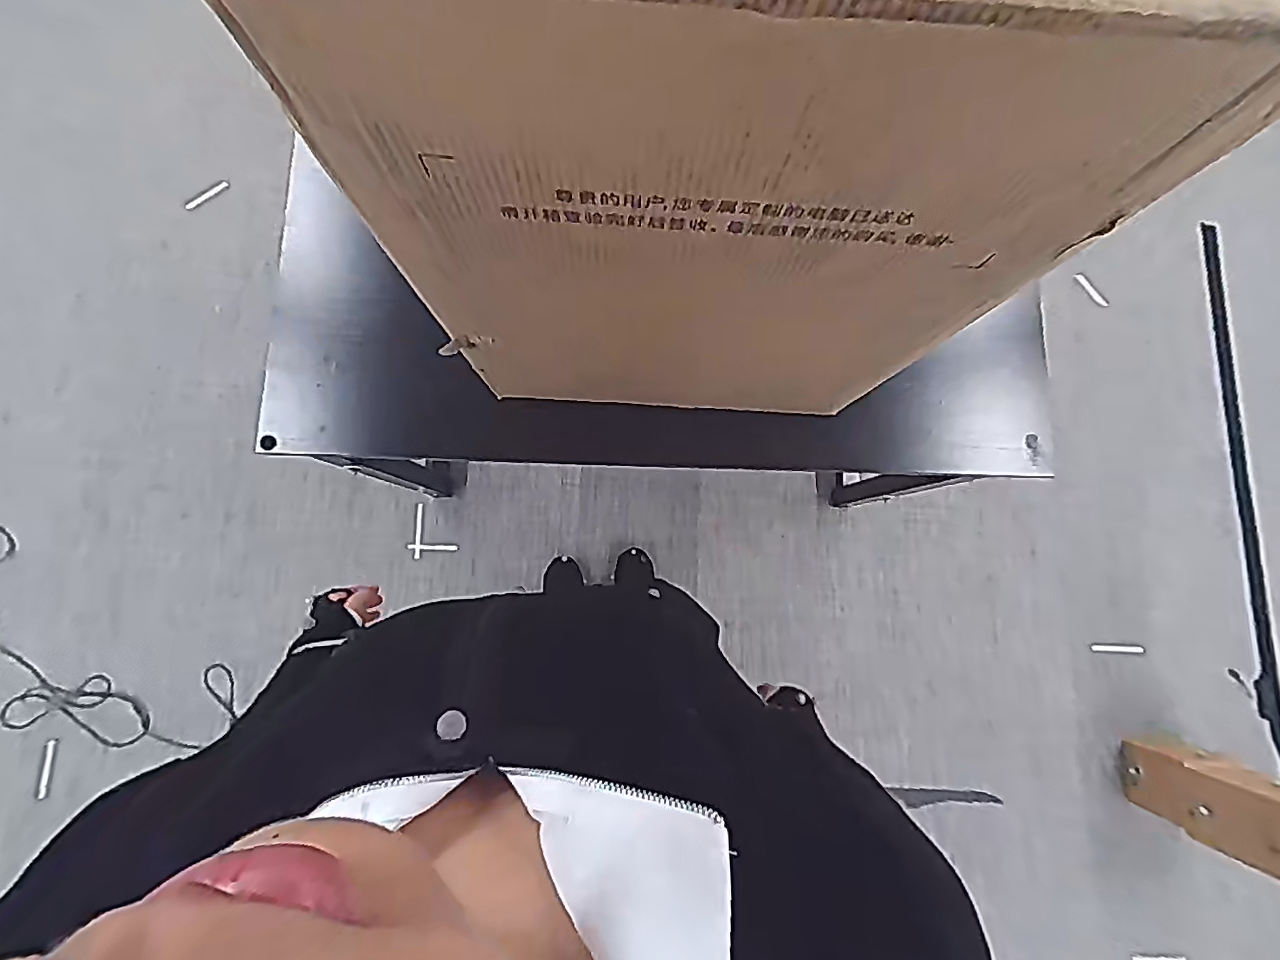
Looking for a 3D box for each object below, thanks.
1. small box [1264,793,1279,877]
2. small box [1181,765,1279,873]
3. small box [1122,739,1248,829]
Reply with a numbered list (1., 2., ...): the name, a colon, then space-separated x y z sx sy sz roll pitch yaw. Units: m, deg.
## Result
1. small box: 1.429 0.753 1.089 0.179 0.176 0.168 3 81 -2
2. small box: 1.424 0.777 1.251 0.179 0.176 0.168 3 81 -2
3. small box: 1.425 0.793 1.416 0.179 0.176 0.168 2 81 -1
